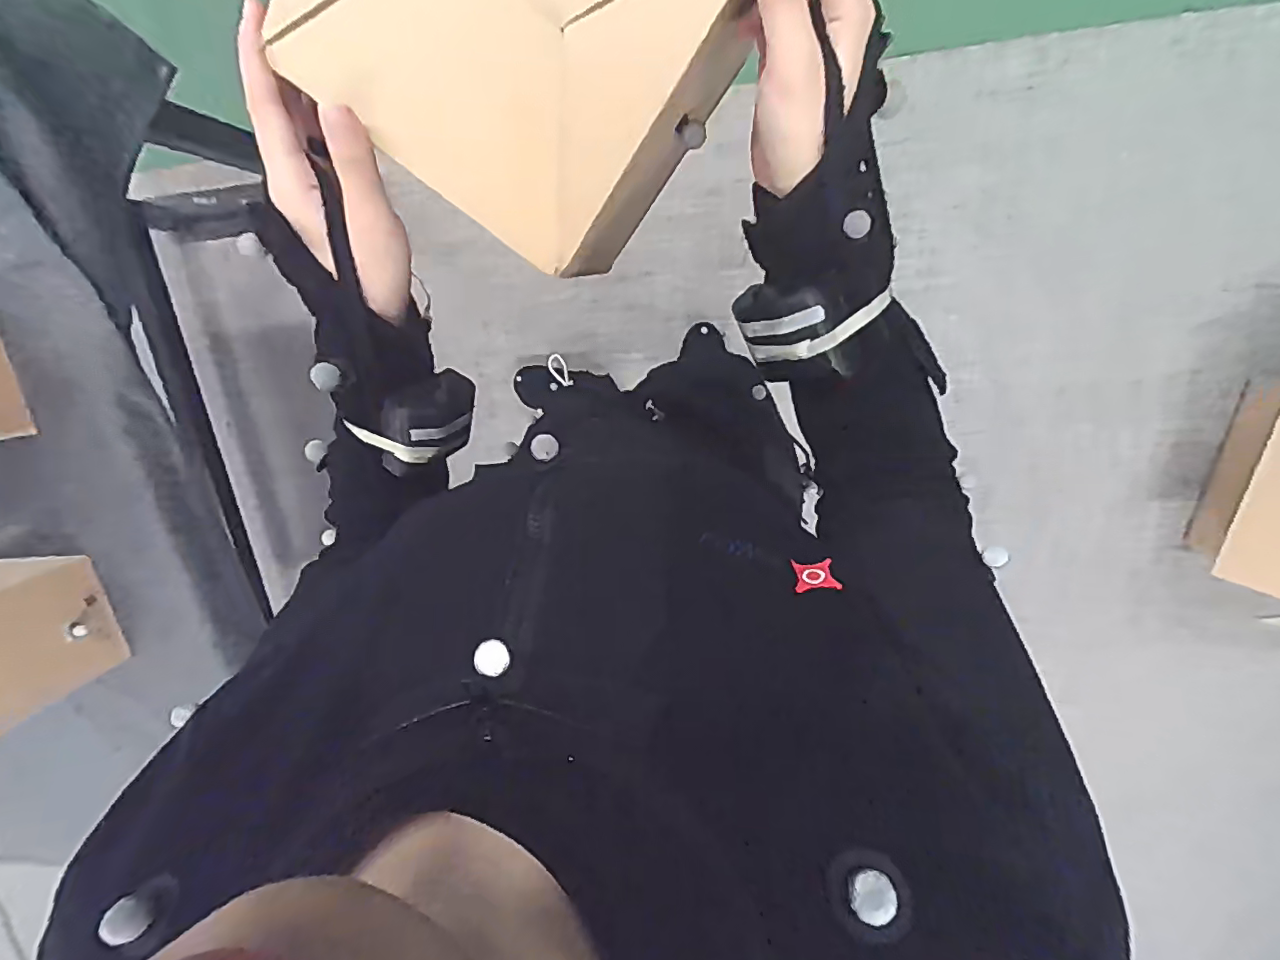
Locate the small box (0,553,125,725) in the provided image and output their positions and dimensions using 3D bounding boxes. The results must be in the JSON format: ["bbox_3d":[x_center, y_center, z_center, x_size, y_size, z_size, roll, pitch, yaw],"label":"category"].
[{"bbox_3d":[-0.847,0.204,0.702,0.179,0.176,0.168,-4,108,7],"label":"small box"}]

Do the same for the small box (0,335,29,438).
[{"bbox_3d":[-0.866,-0.118,0.603,0.168,0.176,0.179,-2,107,7],"label":"small box"}]
